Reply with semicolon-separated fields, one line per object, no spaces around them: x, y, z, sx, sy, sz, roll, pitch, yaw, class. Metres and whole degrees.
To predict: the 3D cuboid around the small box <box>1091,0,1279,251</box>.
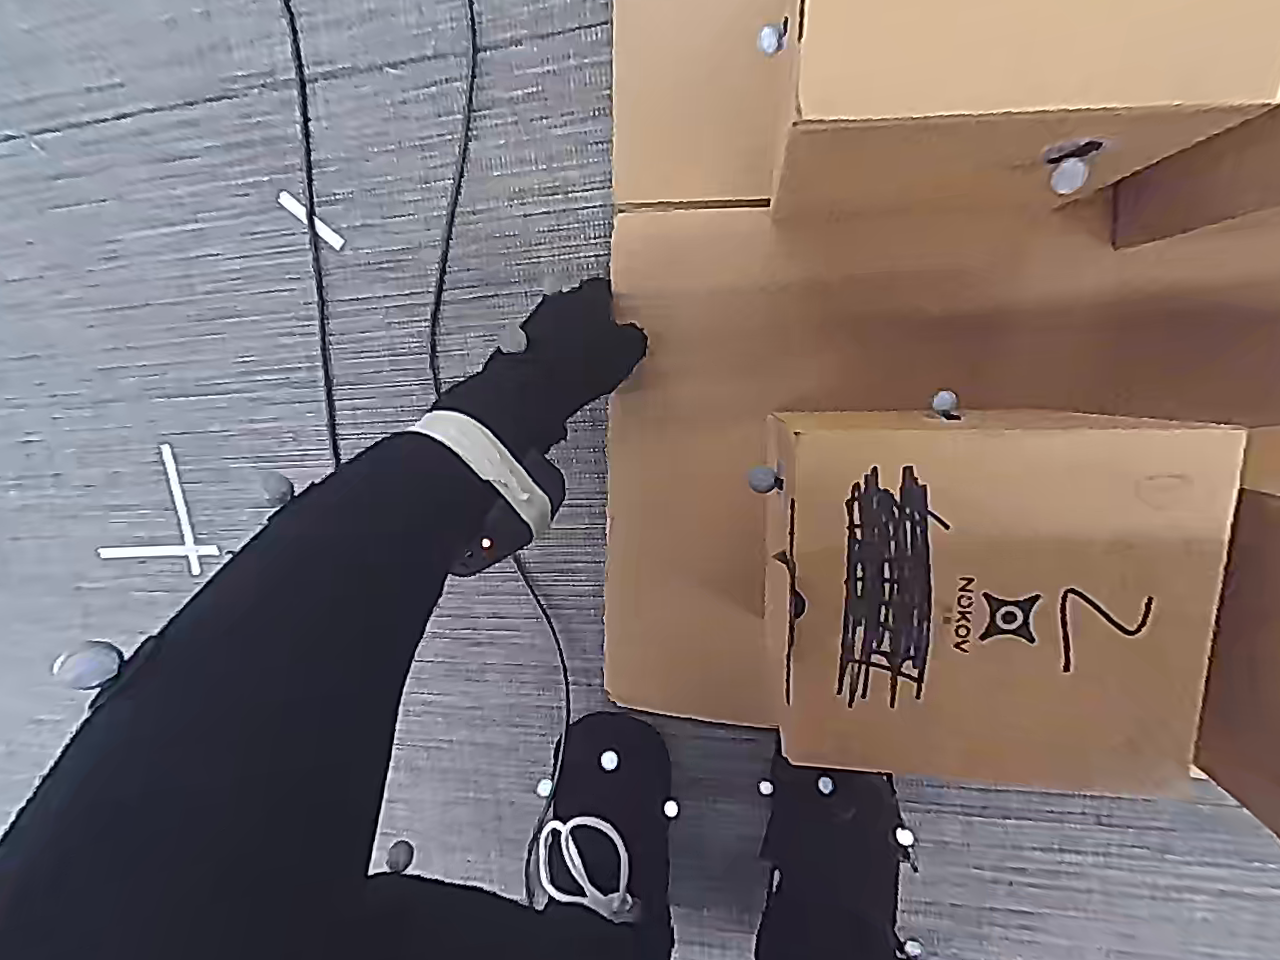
0.359;-0.214;0.245;0.179;0.176;0.168;-4;102;13;small box

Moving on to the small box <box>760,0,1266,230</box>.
0.160;-0.237;0.280;0.179;0.176;0.168;5;103;10;small box
